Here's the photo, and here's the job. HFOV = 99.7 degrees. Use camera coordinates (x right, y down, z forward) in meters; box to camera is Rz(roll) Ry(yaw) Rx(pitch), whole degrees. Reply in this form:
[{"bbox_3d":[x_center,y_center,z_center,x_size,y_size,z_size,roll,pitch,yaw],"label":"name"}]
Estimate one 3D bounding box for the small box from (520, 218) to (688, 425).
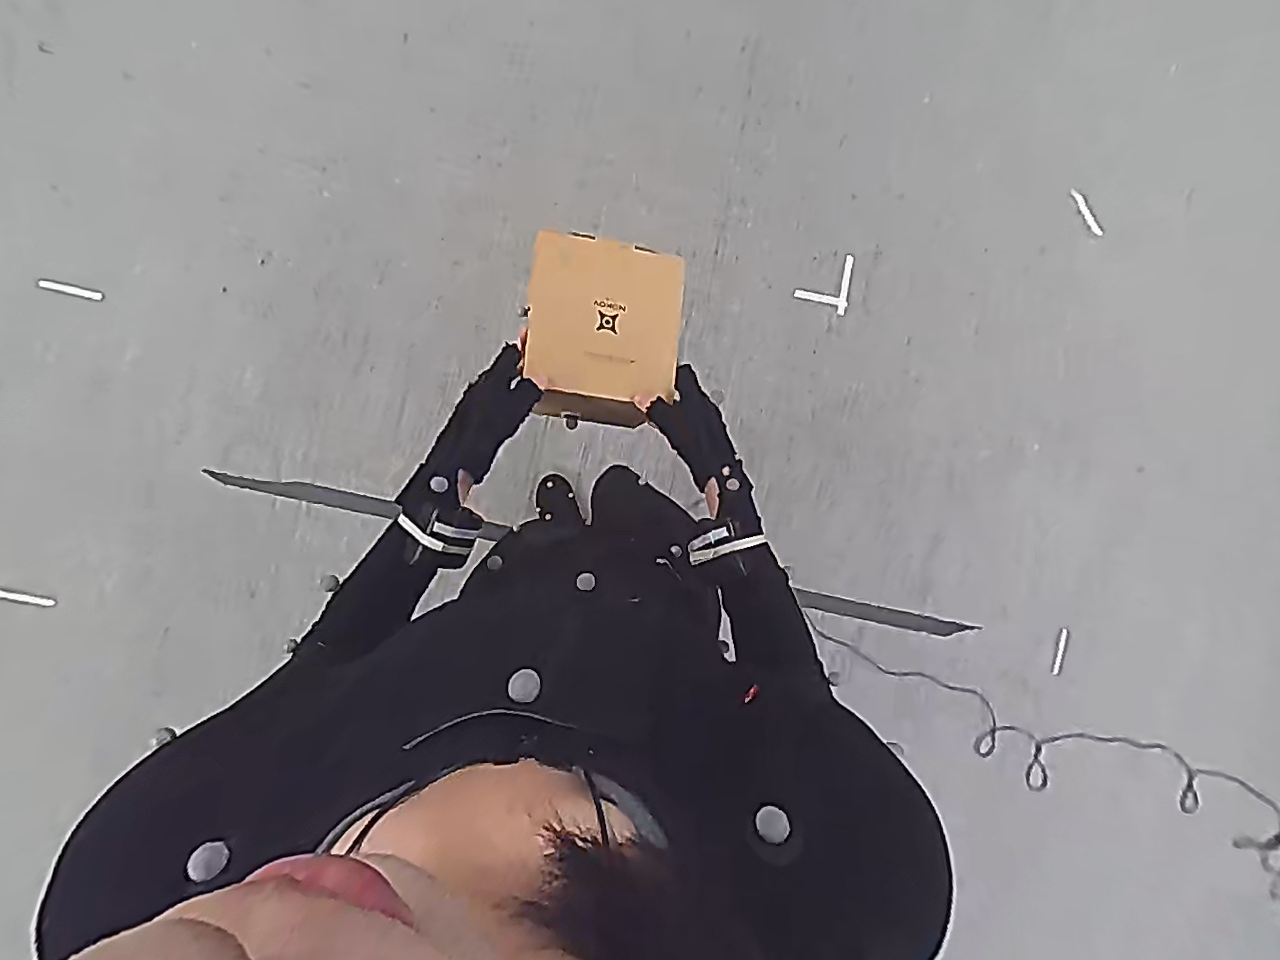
[{"bbox_3d":[-0.052,-0.175,0.652,0.168,0.176,0.179,7,85,-13],"label":"small box"}]
